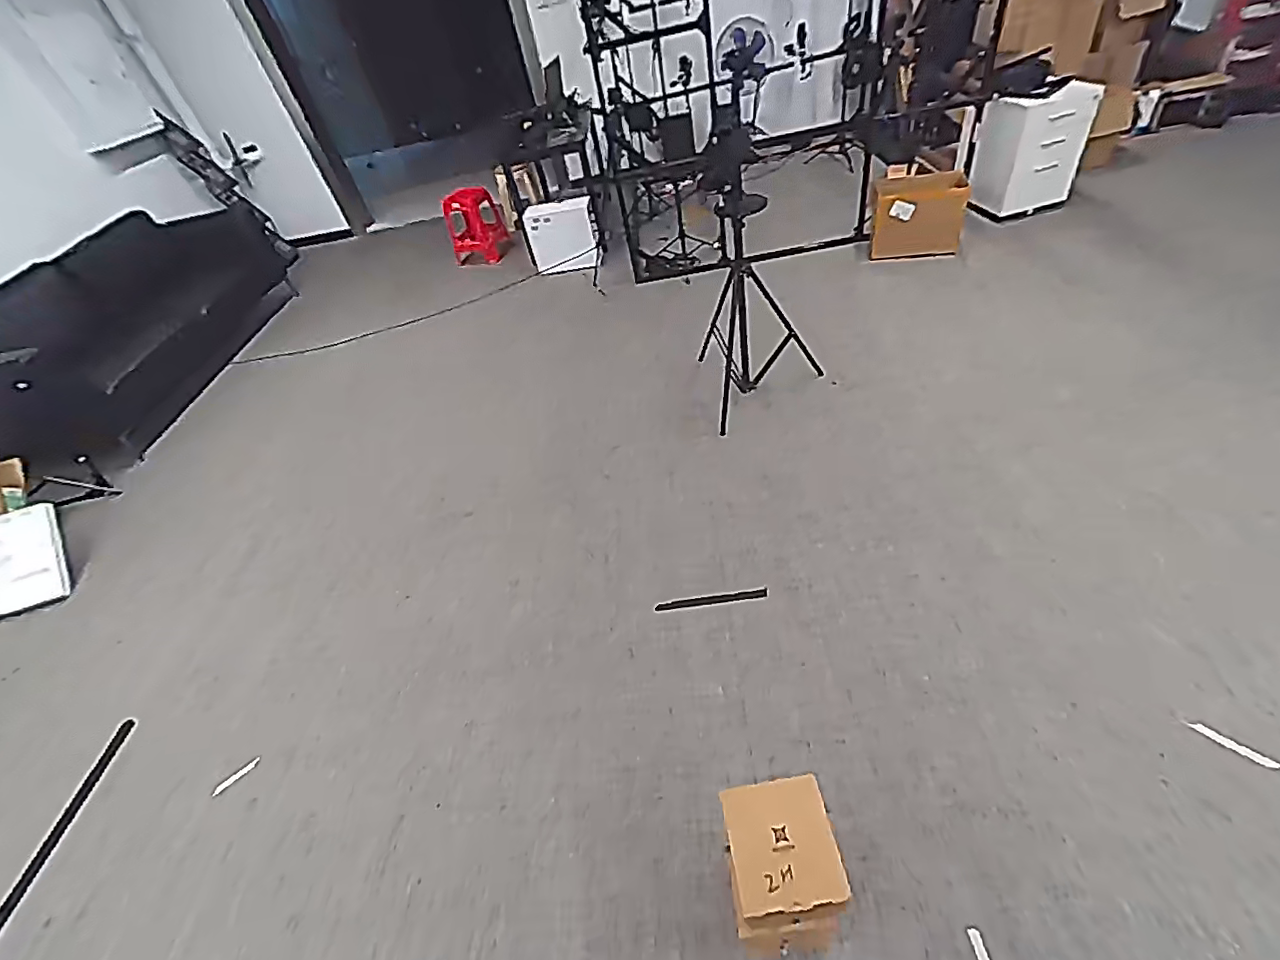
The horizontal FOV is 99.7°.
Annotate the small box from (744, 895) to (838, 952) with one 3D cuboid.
[{"bbox_3d":[0.301,0.859,1.131,0.168,0.176,0.179,-9,44,5],"label":"small box"}]

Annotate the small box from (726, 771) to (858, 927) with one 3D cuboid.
[{"bbox_3d":[0.245,0.622,0.909,0.168,0.176,0.179,-12,45,3],"label":"small box"}]
